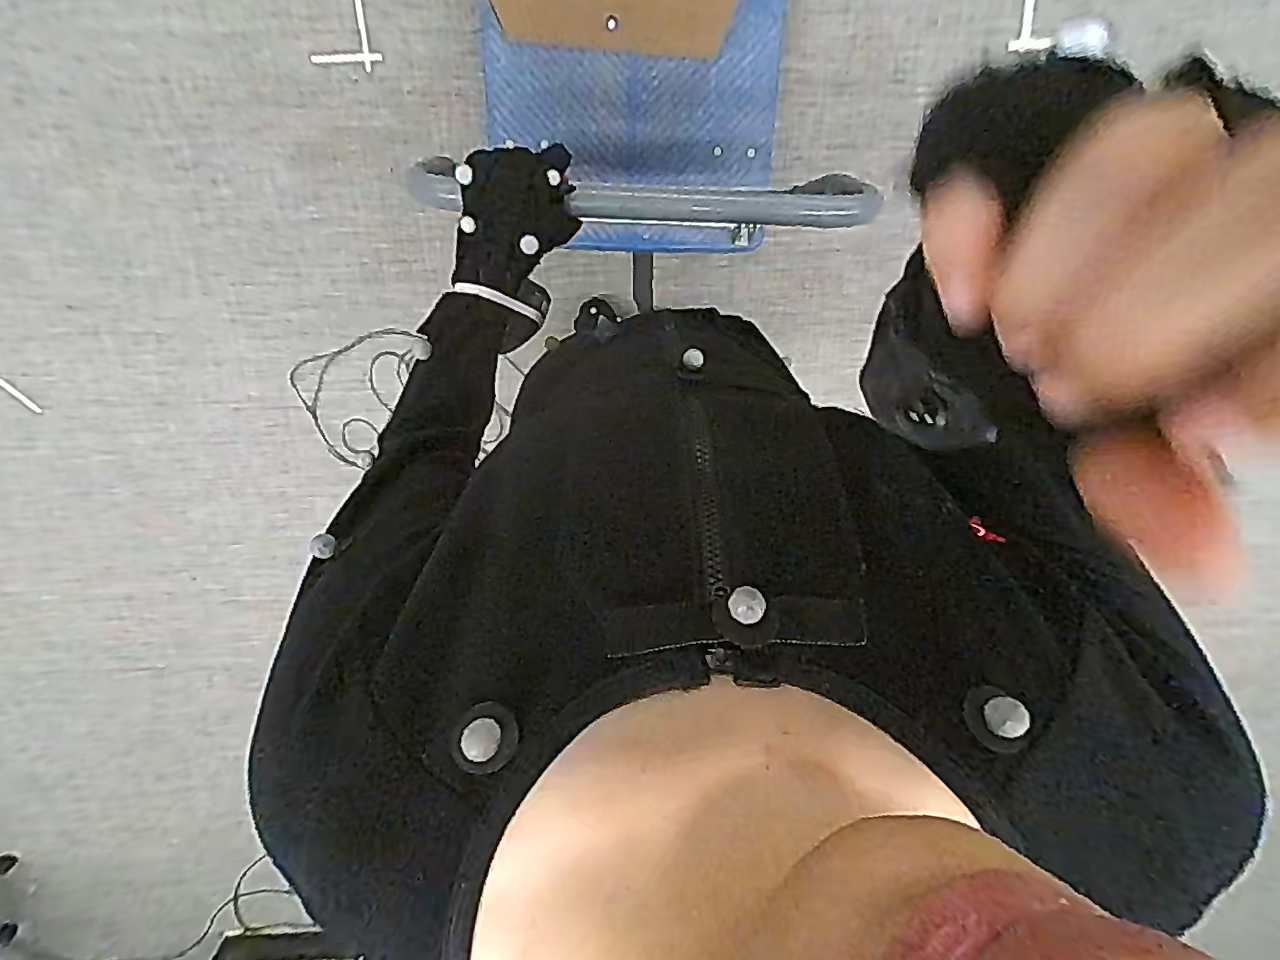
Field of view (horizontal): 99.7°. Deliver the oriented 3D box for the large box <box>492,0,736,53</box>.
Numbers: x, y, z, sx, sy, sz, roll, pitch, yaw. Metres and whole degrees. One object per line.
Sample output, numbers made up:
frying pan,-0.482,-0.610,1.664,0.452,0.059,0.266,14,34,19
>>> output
large box,-0.040,-0.927,0.857,0.408,0.320,0.320,3,109,-3
